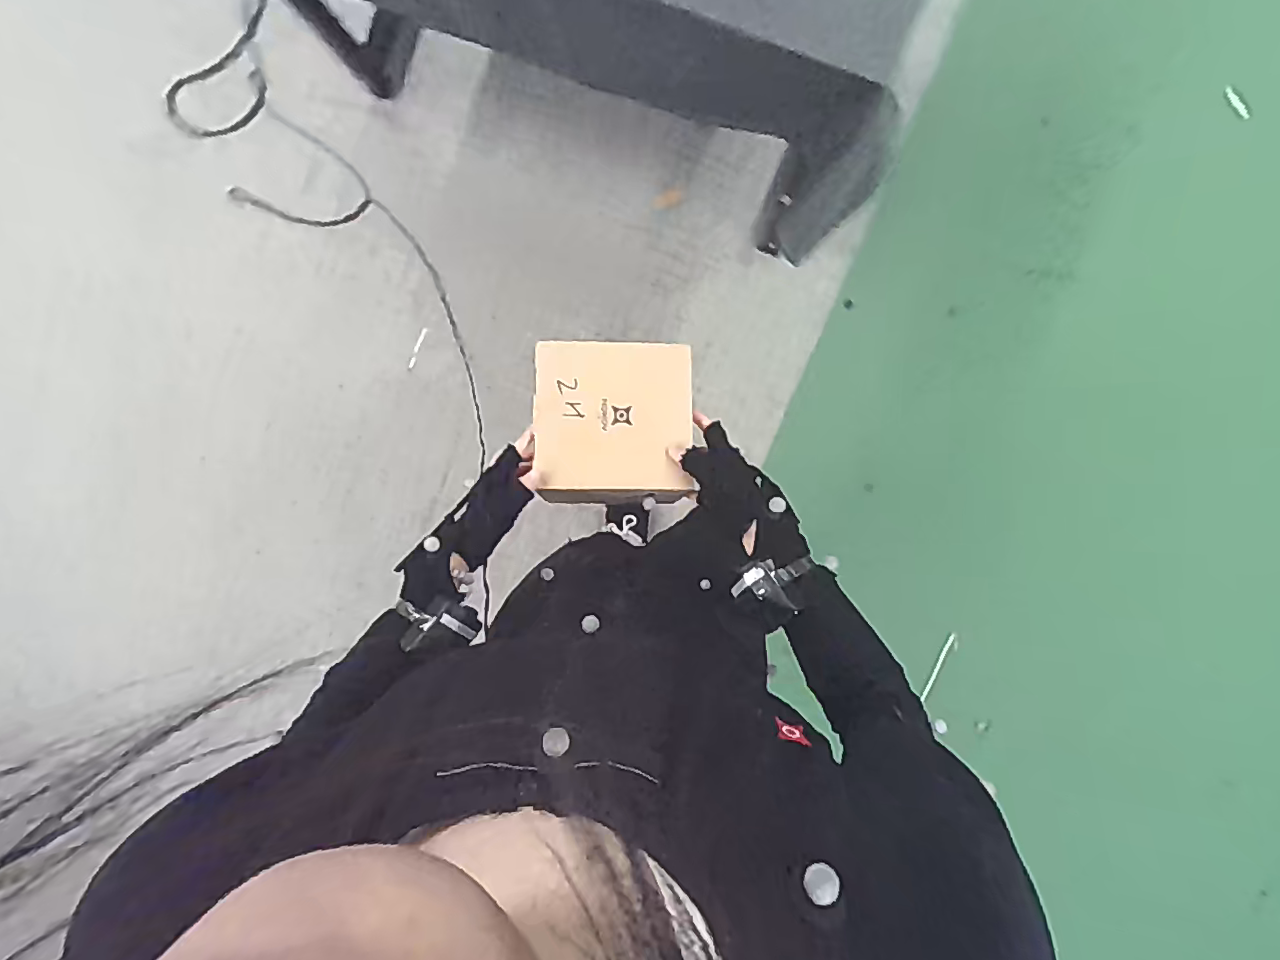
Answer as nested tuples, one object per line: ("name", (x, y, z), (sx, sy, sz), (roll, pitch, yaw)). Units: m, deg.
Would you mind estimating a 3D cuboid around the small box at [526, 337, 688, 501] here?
("small box", (-0.041, -0.066, 0.667), (0.179, 0.176, 0.168), (-1, 81, -3))
